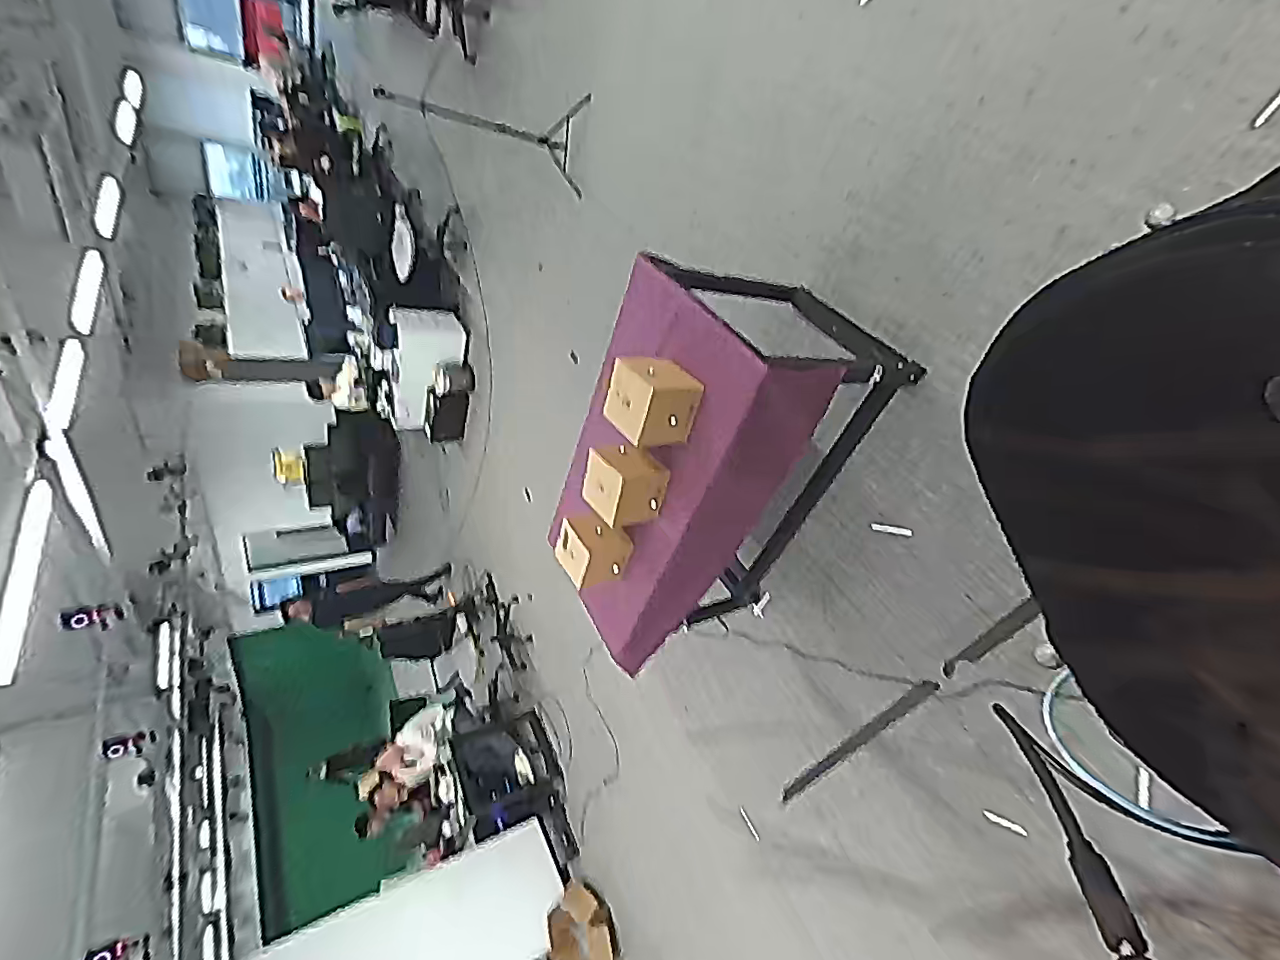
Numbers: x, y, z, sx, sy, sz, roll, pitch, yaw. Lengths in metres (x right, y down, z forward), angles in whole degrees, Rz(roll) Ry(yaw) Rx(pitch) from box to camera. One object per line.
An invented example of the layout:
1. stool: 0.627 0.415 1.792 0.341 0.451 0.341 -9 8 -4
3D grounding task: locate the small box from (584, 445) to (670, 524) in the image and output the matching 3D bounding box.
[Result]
1. small box: -0.040 0.007 1.577 0.179 0.176 0.168 44 131 42

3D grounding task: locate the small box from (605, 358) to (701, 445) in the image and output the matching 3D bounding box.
1. small box: 0.034 -0.212 1.424 0.179 0.176 0.168 48 133 40

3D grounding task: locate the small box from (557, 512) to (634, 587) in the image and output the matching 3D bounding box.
1. small box: -0.146 0.220 1.769 0.179 0.176 0.168 50 134 37
